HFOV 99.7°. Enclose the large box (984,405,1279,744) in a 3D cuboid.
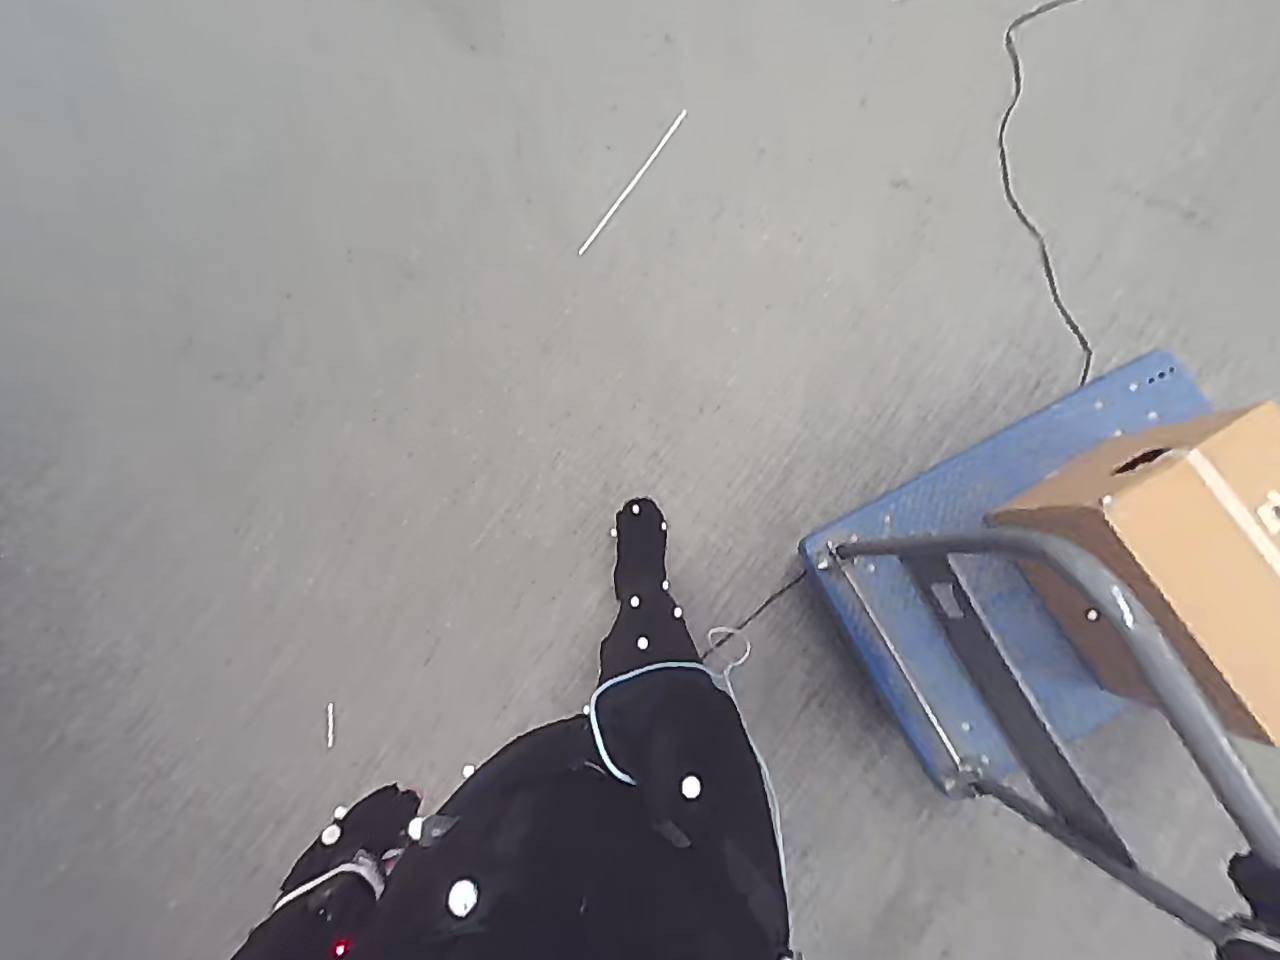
[{"bbox_3d":[0.917,0.147,0.930,0.320,0.320,0.408,-32,82,-1],"label":"large box"}]
